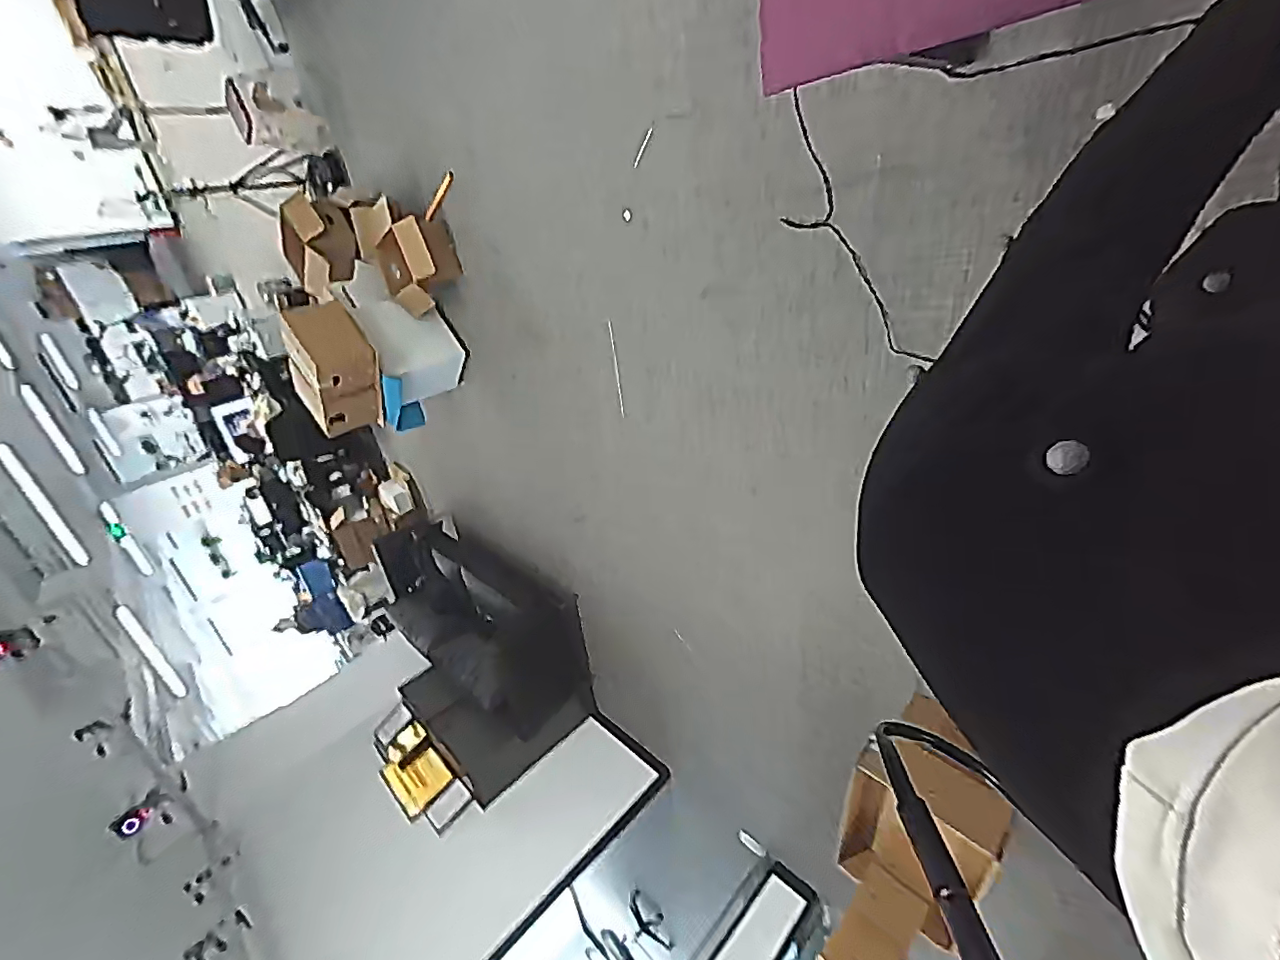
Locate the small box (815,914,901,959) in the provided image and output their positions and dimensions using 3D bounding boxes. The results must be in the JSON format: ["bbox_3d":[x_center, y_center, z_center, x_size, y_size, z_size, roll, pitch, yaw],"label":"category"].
[{"bbox_3d":[0.625,1.419,1.570,0.179,0.176,0.168,23,130,41],"label":"small box"}]
